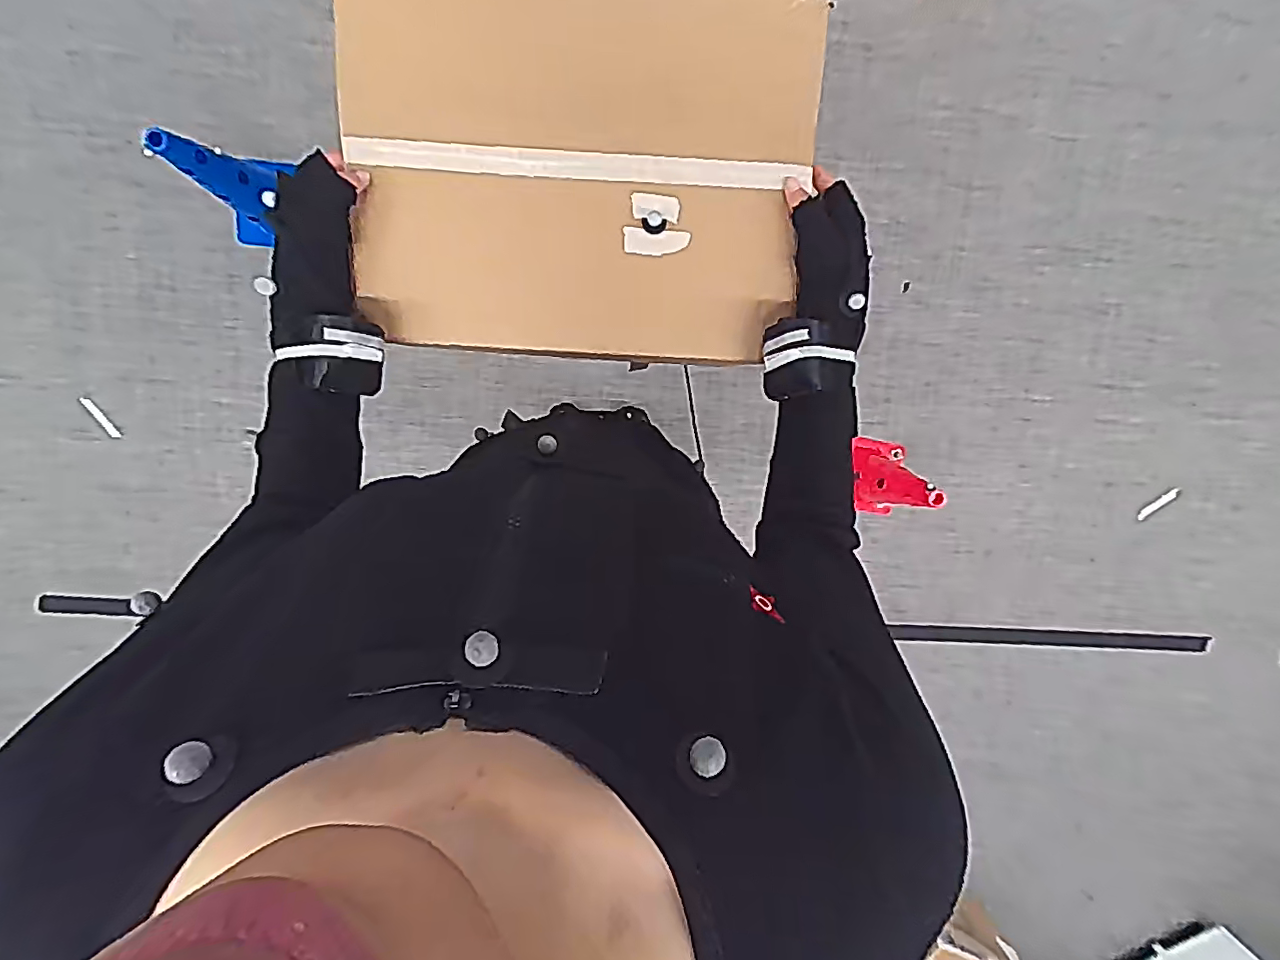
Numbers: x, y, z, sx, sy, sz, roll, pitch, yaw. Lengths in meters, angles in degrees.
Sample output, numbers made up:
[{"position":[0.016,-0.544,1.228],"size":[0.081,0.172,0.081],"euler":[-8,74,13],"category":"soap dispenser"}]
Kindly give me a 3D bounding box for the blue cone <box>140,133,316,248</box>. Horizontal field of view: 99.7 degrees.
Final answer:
[{"position":[-0.903,-0.656,1.185],"size":[0.192,0.380,0.193],"euler":[7,99,-2],"category":"blue cone"}]

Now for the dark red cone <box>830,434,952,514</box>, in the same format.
[{"position":[0.624,0.013,1.299],"size":[0.201,0.394,0.202],"euler":[9,99,-2],"category":"dark red cone"}]

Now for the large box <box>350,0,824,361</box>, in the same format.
[{"position":[-0.054,-0.303,0.622],"size":[0.408,0.320,0.320],"euler":[2,102,-3],"category":"large box"}]
